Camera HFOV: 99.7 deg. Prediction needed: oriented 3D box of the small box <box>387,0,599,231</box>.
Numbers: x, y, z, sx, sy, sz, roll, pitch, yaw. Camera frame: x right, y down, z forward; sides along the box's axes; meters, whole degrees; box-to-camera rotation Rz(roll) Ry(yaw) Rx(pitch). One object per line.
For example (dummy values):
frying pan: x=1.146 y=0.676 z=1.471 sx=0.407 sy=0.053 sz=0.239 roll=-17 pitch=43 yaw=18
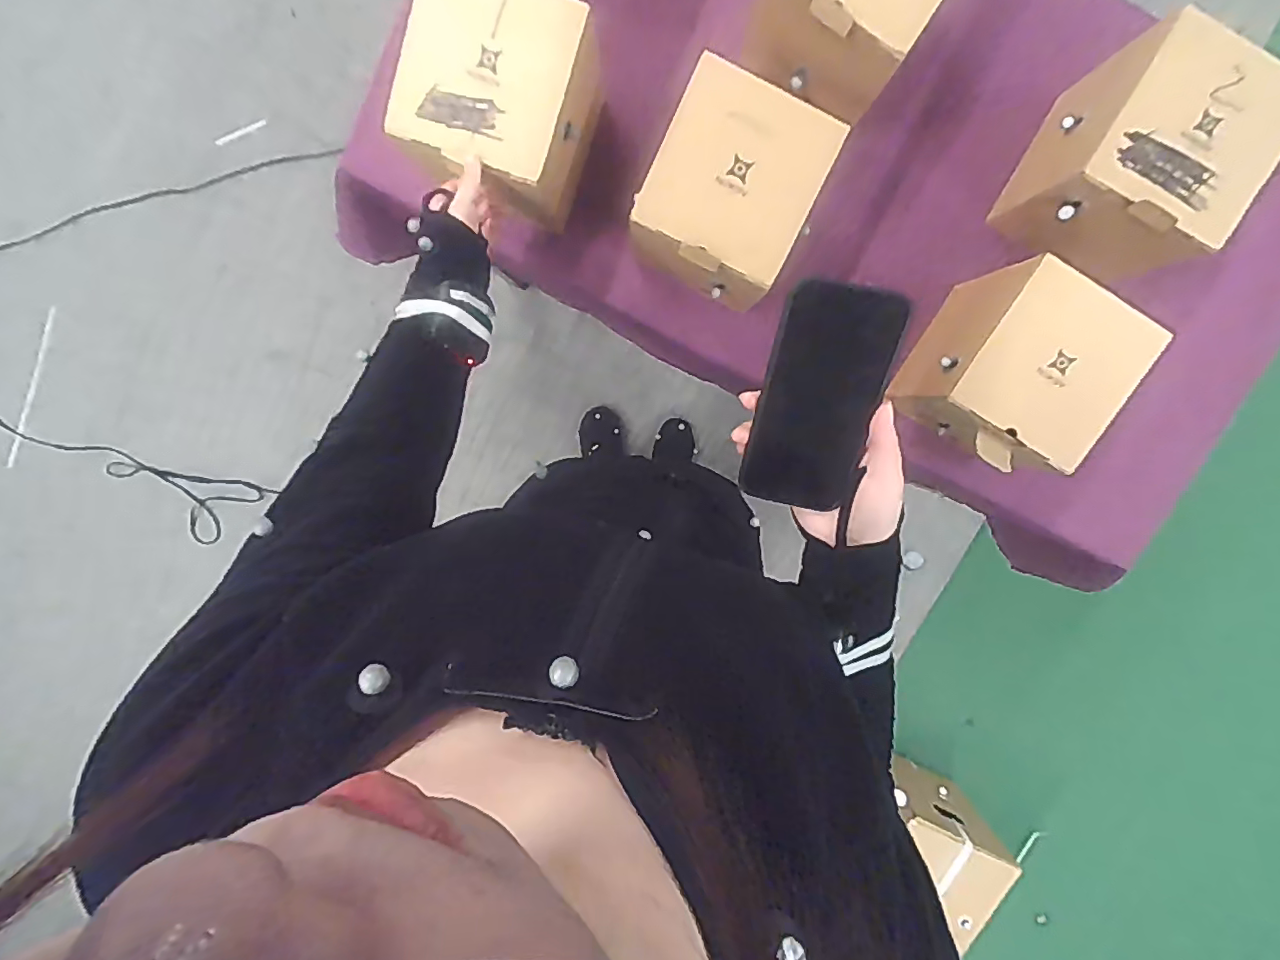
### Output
small box: x=-0.150 y=-0.413 z=0.613 sx=0.168 sy=0.176 sz=0.179 roll=19 pitch=97 yaw=-2

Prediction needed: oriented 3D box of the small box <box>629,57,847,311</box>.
small box: x=0.101 y=-0.316 z=0.625 sx=0.168 sy=0.176 sz=0.179 roll=26 pitch=97 yaw=-3

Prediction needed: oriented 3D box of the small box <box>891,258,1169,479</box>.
small box: x=0.440 y=-0.127 z=0.647 sx=0.168 sy=0.176 sz=0.179 roll=31 pitch=98 yaw=-3

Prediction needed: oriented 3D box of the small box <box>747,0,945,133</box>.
small box: x=0.236 y=-0.532 z=0.587 sx=0.168 sy=0.176 sz=0.179 roll=33 pitch=98 yaw=-3
